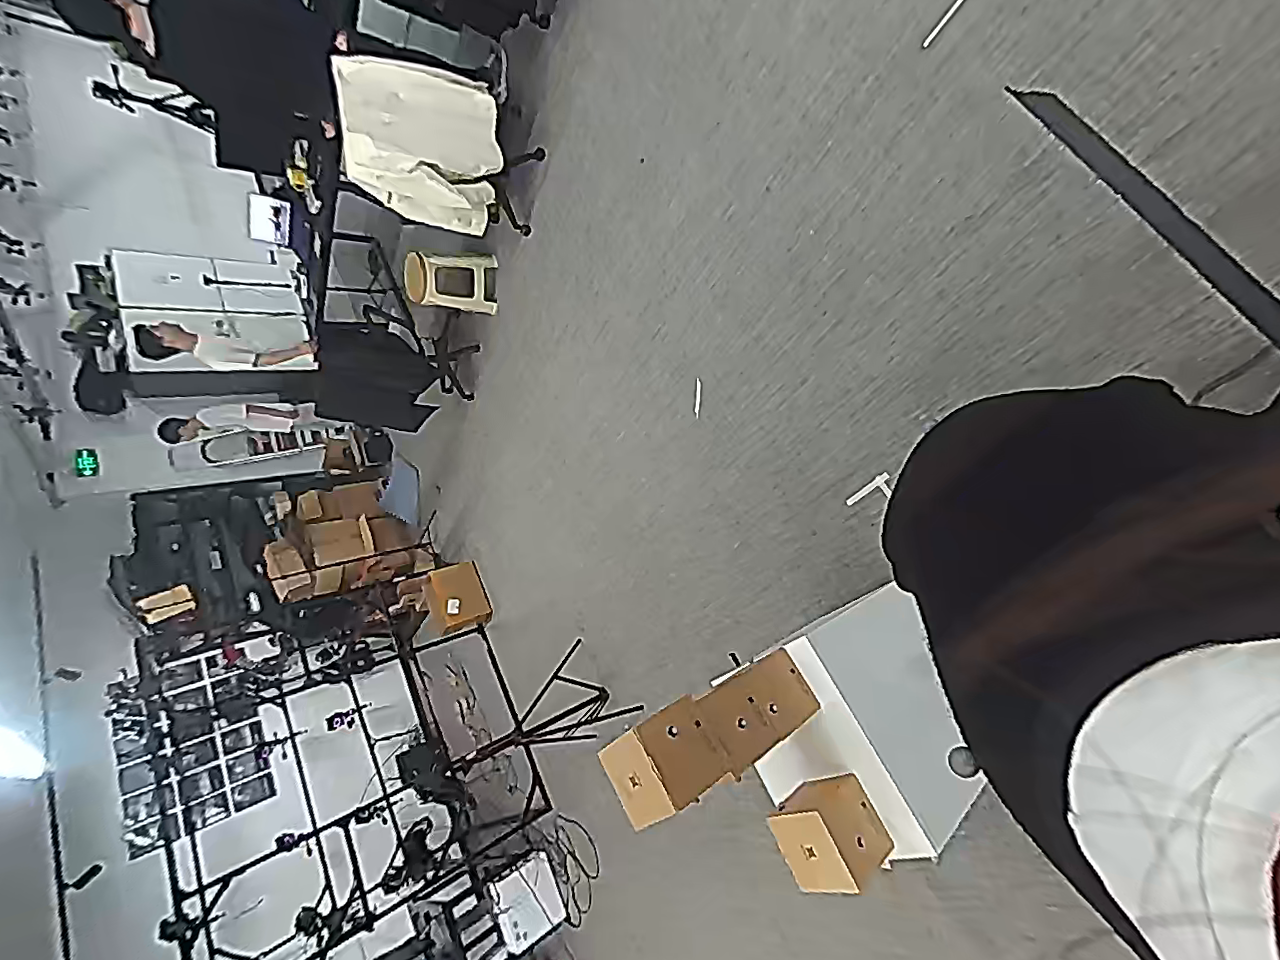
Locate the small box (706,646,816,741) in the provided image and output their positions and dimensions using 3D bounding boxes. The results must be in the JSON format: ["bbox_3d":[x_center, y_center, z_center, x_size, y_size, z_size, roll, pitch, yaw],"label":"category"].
[{"bbox_3d":[0.295,0.536,1.330,0.168,0.176,0.179,59,136,20],"label":"small box"}]

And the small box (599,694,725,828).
[{"bbox_3d":[0.050,0.572,1.114,0.168,0.176,0.179,57,136,23],"label":"small box"}]

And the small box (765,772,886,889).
[{"bbox_3d":[0.432,0.798,1.240,0.179,0.176,0.168,-47,63,45],"label":"small box"}]

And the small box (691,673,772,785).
[{"bbox_3d":[0.172,0.564,1.223,0.168,0.176,0.179,60,137,20],"label":"small box"}]
